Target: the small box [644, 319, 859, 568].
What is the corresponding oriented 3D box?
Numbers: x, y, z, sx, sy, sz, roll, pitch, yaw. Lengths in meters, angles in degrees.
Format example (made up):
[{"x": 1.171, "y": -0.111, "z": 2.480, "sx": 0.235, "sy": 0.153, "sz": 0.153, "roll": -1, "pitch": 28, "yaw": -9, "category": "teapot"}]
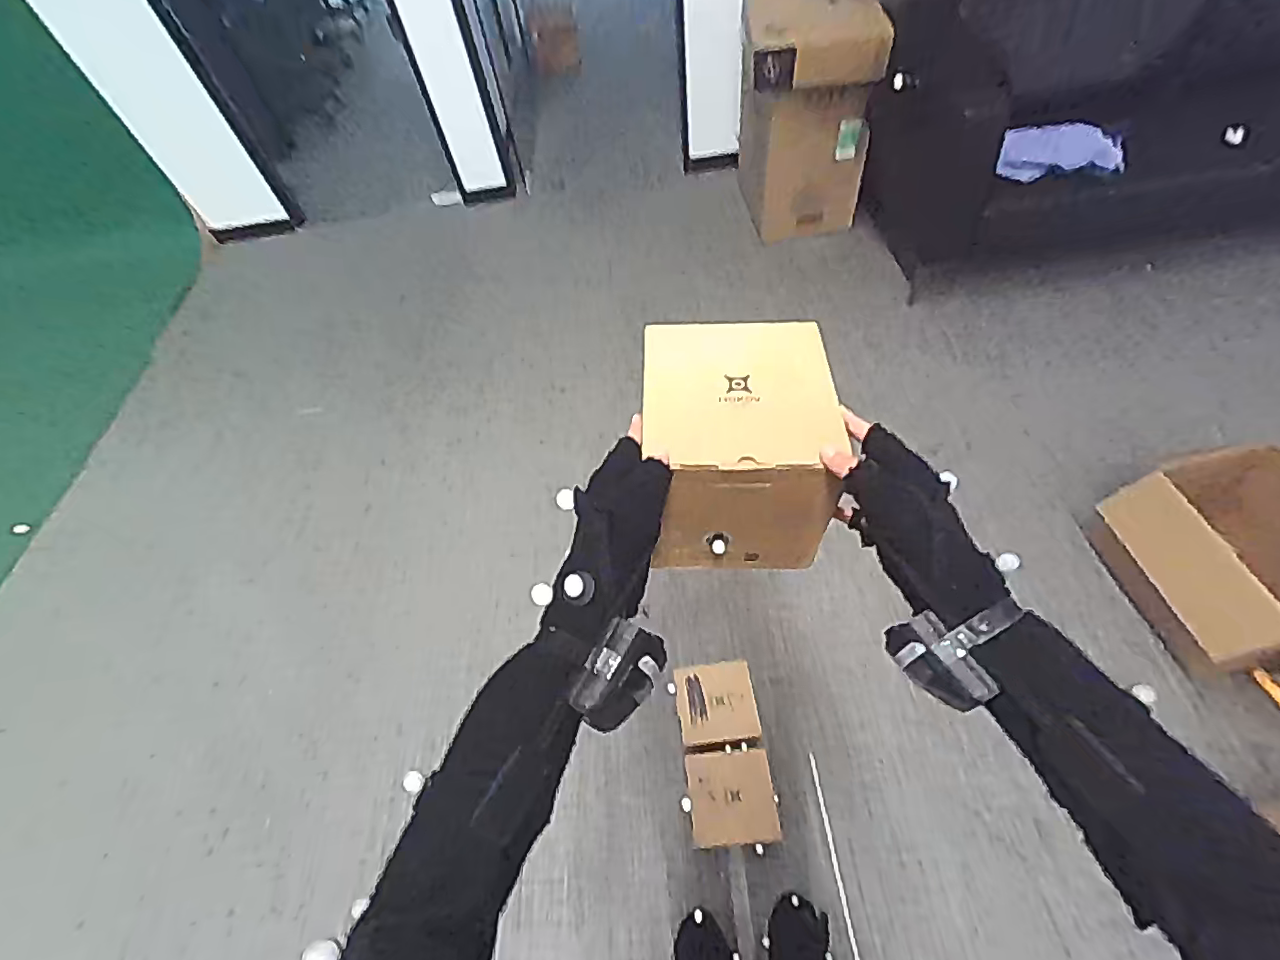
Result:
[{"x": 0.089, "y": -0.033, "z": 0.524, "sx": 0.168, "sy": 0.176, "sz": 0.179, "roll": 1, "pitch": 53, "yaw": 2, "category": "small box"}]
